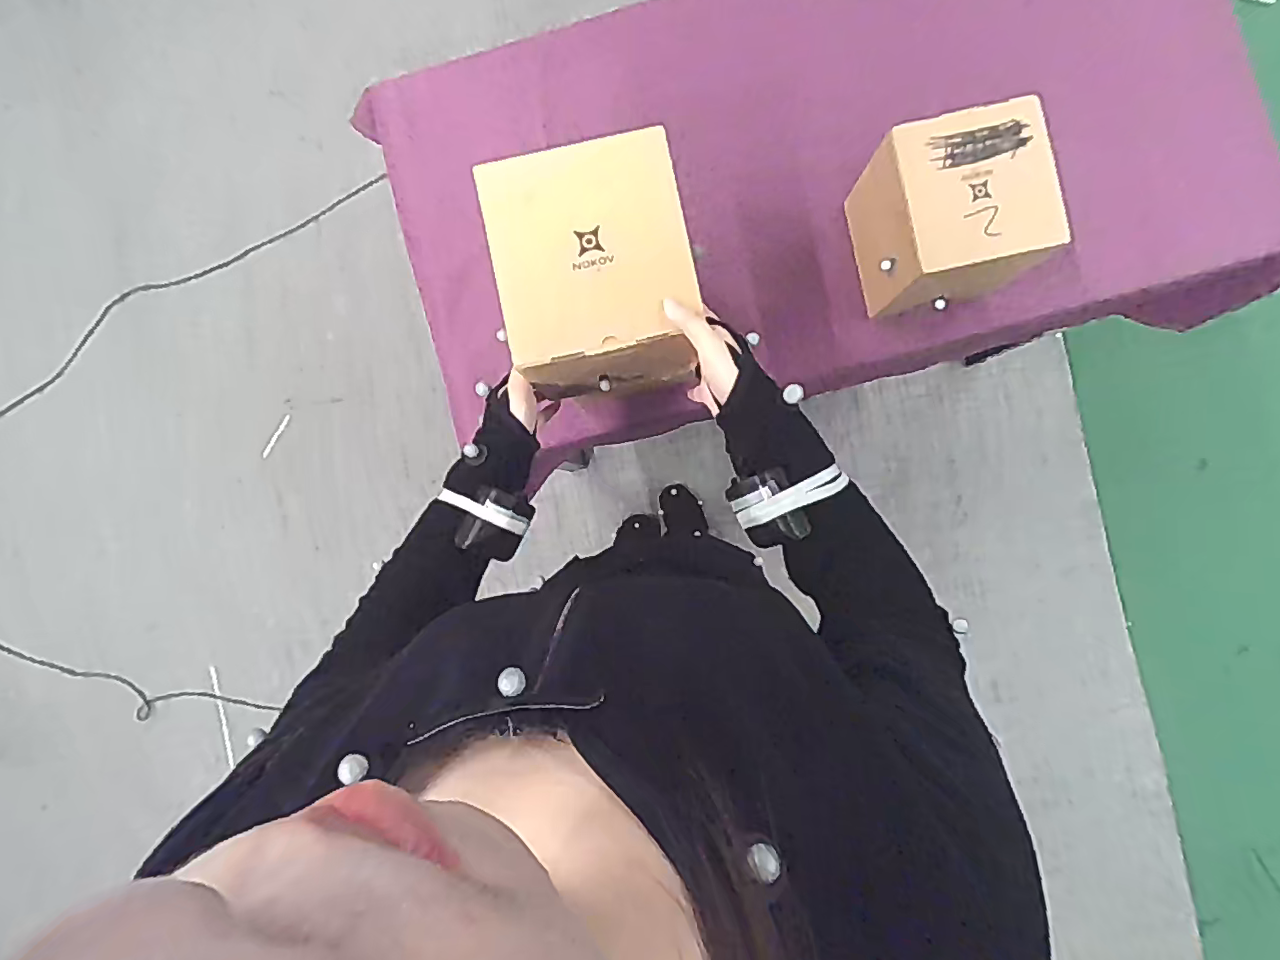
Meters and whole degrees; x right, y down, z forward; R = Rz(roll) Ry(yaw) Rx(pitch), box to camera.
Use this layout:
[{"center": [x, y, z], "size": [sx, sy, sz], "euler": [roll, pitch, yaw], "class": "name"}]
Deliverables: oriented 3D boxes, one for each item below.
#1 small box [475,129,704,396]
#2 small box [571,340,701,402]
[{"center": [-0.042, -0.194, 0.530], "size": [0.168, 0.176, 0.179], "euler": [-12, 91, 1], "class": "small box"}, {"center": [-0.026, -0.209, 0.707], "size": [0.179, 0.176, 0.168], "euler": [-12, 87, 3], "class": "small box"}]
